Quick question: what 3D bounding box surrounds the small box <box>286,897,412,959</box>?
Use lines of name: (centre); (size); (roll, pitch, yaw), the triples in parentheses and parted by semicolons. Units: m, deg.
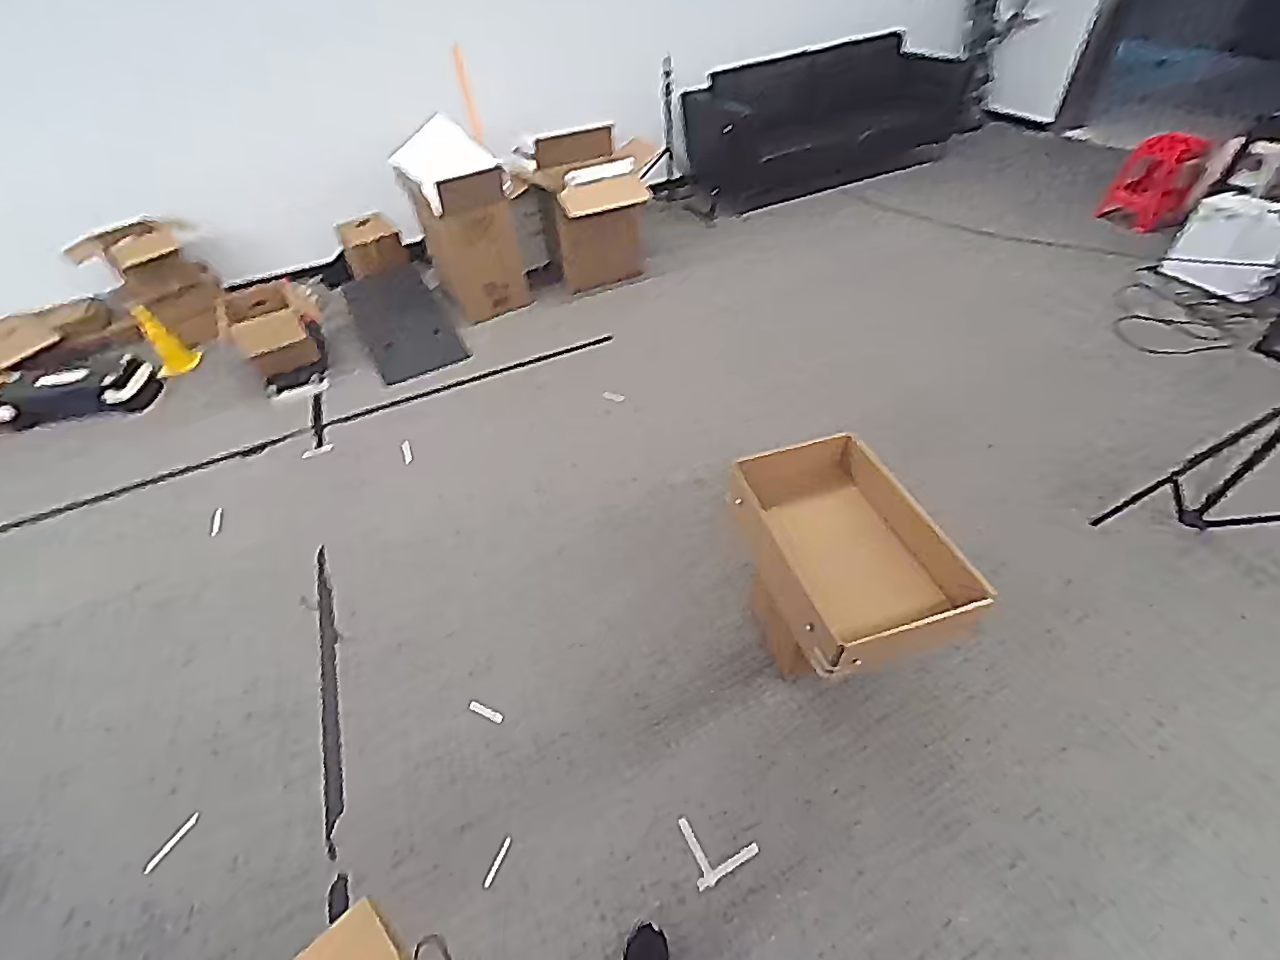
small box: (-0.343, 0.633, 0.622); (0.179, 0.176, 0.168); (39, 49, 23)
